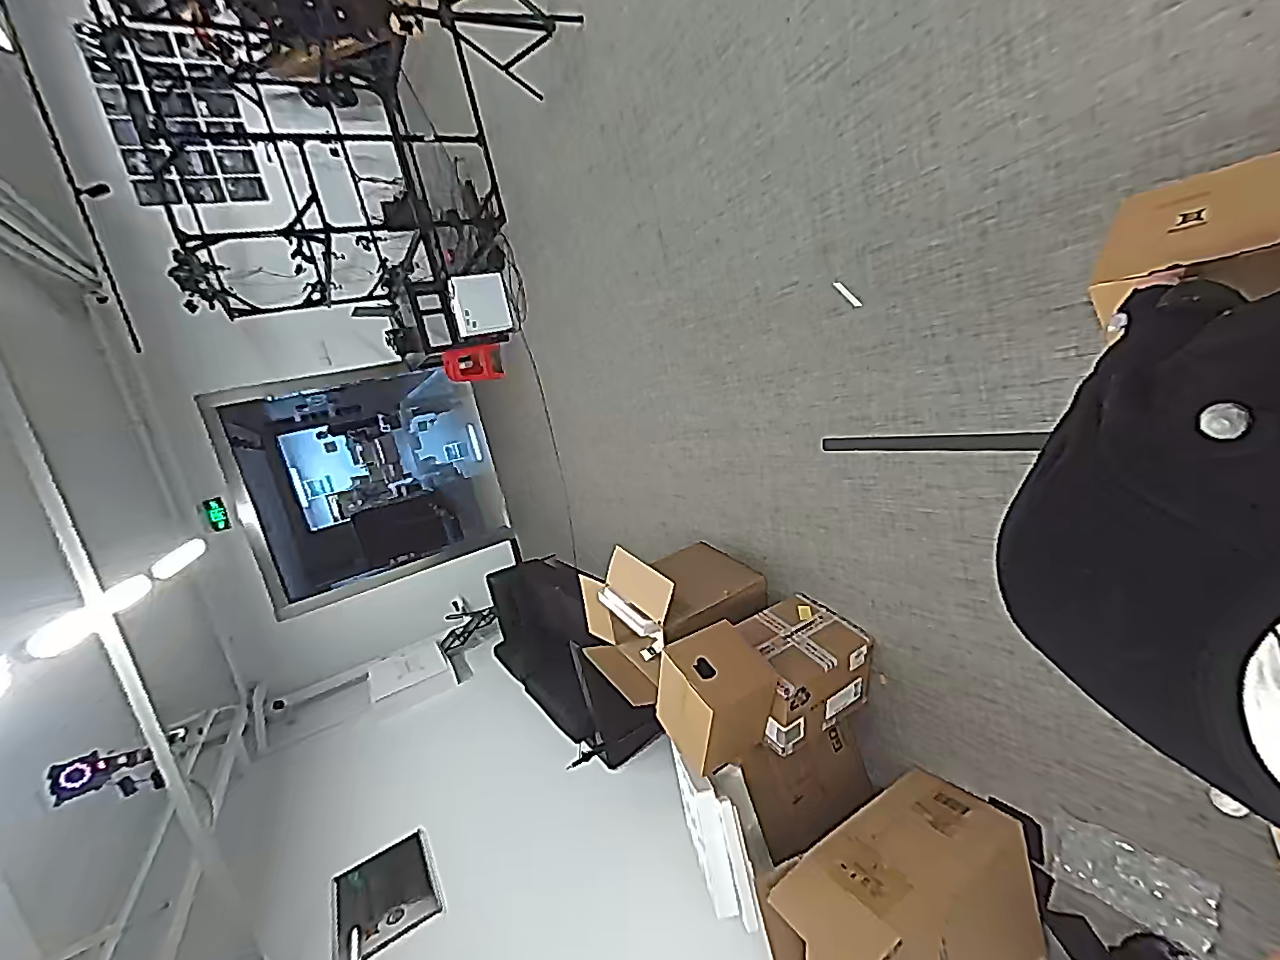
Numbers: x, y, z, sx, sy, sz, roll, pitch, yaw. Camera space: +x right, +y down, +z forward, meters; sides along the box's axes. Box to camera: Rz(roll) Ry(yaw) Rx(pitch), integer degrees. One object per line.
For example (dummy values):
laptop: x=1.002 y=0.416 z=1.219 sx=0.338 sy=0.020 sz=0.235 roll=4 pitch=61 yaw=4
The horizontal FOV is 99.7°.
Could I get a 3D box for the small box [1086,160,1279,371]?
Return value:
small box: x=0.713 y=-0.254 z=0.685 sx=0.176 sy=0.179 sz=0.168 roll=44 pitch=160 yaw=-27
